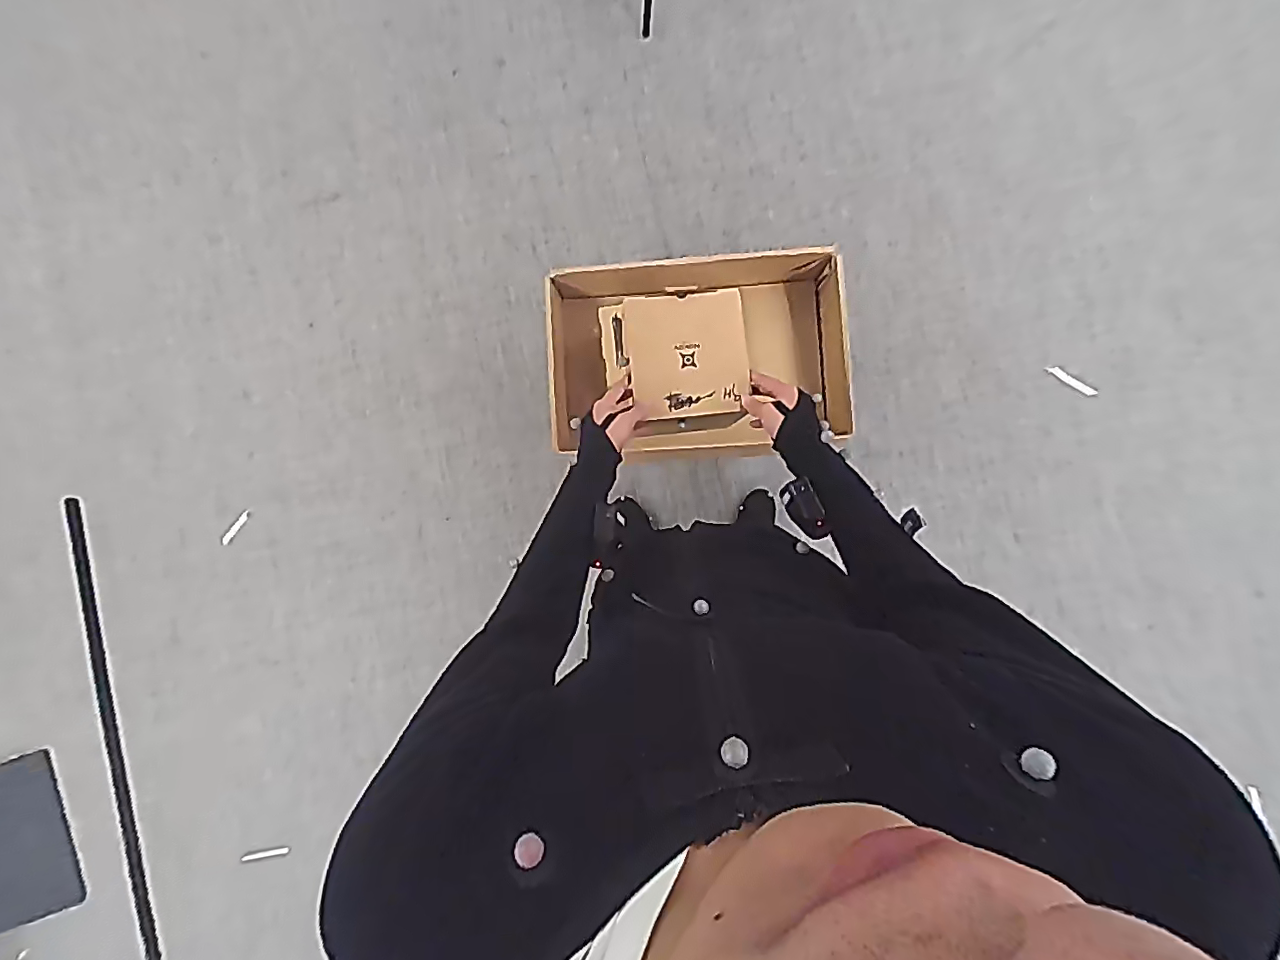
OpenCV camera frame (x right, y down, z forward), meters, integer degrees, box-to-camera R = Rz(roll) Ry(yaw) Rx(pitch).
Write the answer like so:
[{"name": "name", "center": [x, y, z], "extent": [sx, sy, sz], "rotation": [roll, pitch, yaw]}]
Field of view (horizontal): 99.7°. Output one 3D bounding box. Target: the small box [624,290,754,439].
[{"name": "small box", "center": [0.064, -0.166, 0.822], "extent": [0.168, 0.176, 0.179], "rotation": [-6, 87, -2]}]
